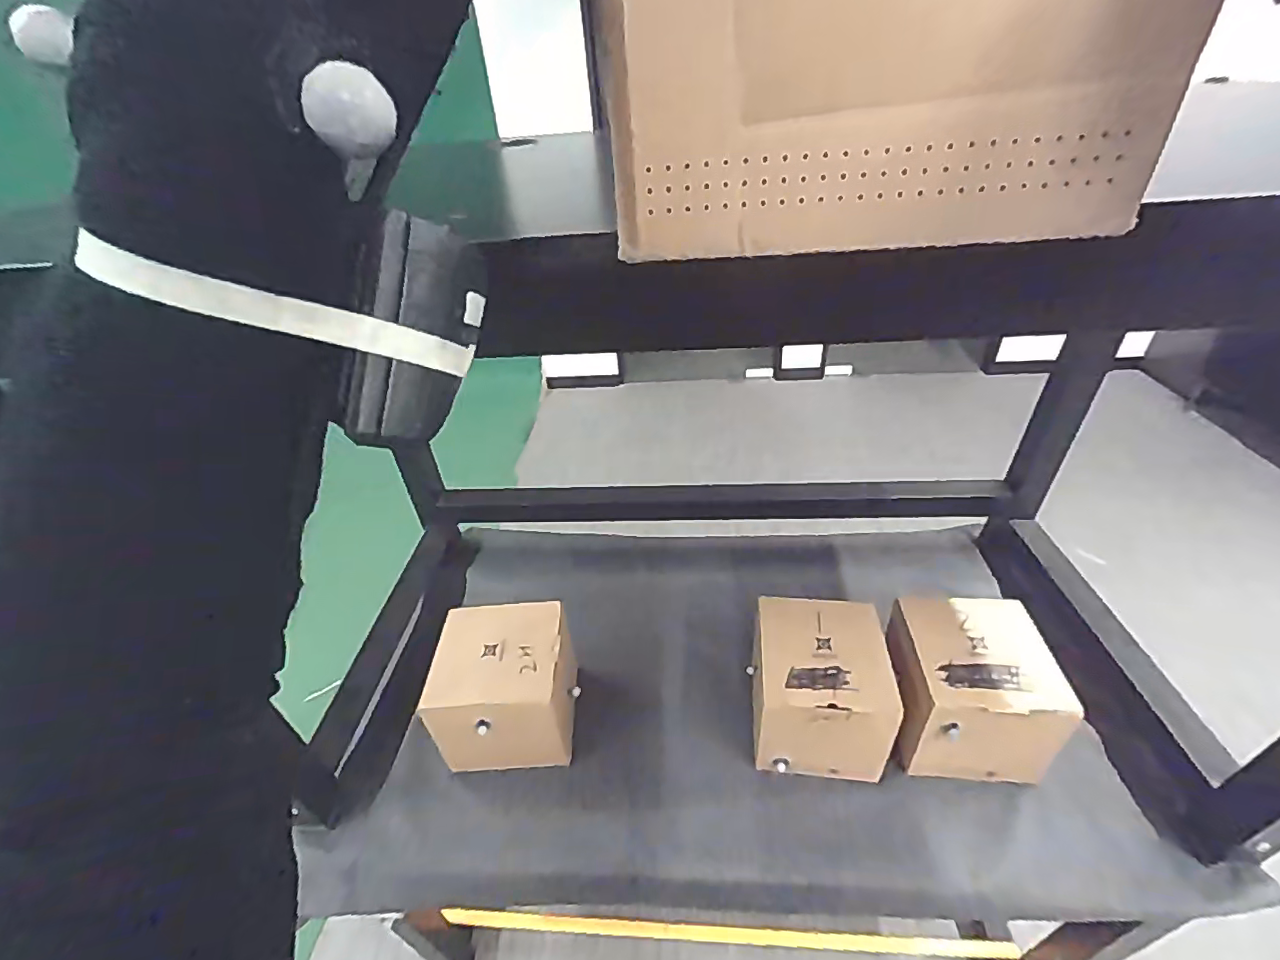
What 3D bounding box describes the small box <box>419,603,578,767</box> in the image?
[{"bbox_3d":[-0.195,0.305,0.803,0.179,0.176,0.168,-3,37,1],"label":"small box"}]
